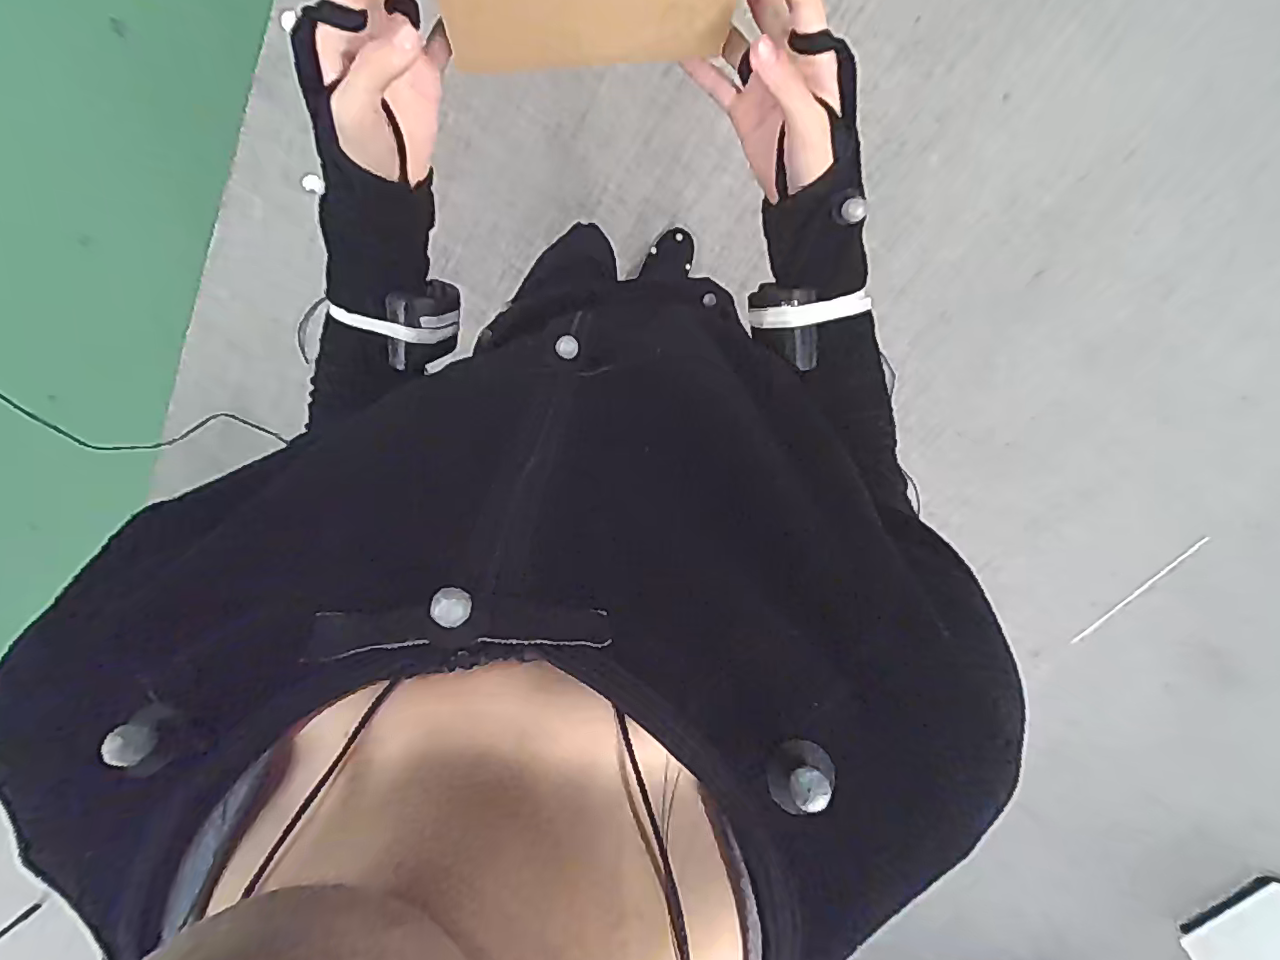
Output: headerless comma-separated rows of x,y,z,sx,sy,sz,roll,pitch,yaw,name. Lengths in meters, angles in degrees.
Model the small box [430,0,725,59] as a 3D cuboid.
-0.036,-0.344,0.247,0.168,0.179,0.176,-7,89,-4,small box
